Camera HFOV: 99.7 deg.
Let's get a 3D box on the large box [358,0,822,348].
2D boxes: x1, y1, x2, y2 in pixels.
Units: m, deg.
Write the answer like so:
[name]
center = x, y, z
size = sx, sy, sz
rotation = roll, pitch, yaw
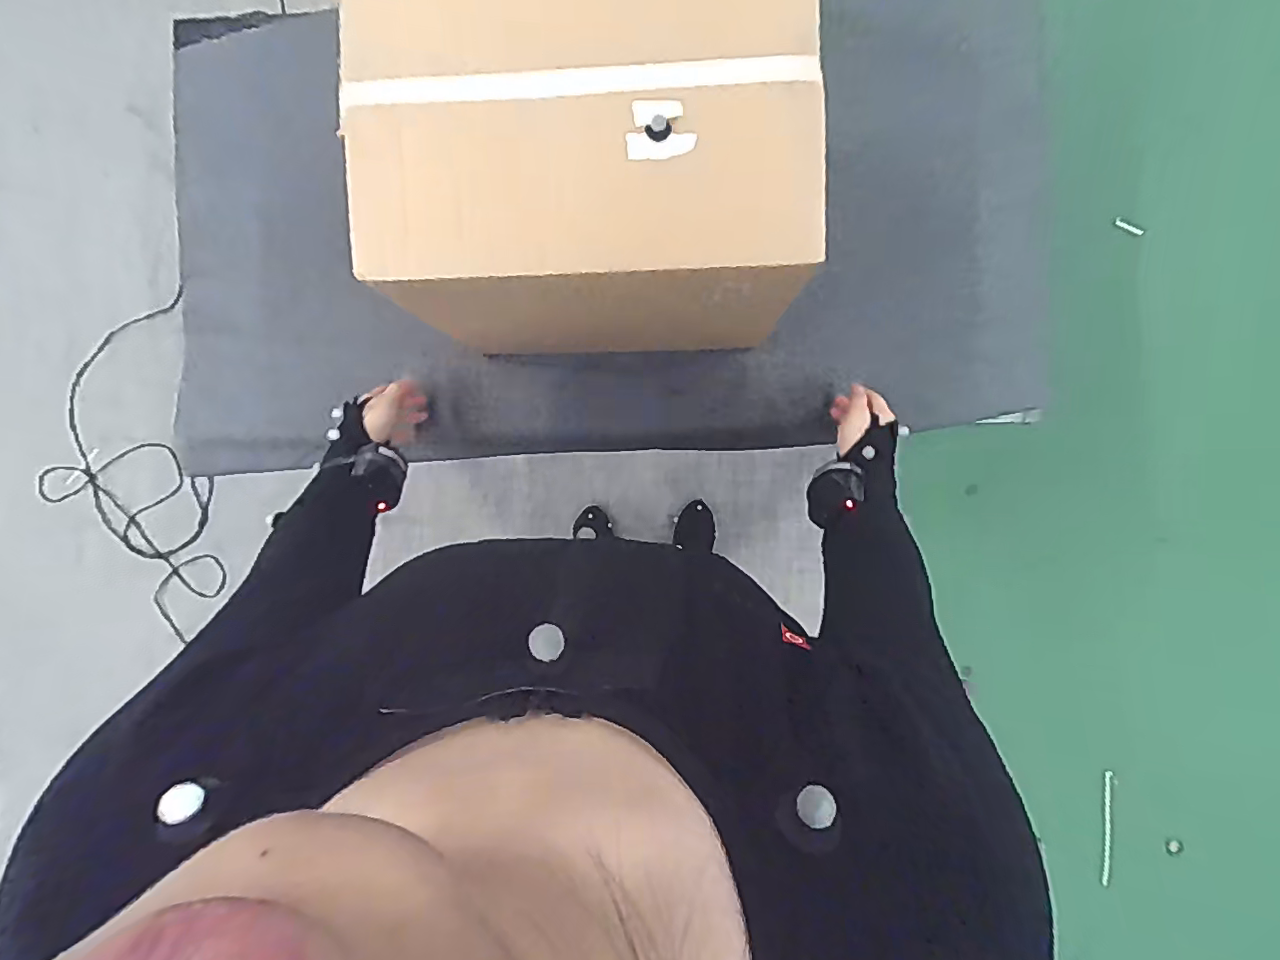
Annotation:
[large box]
center = -0.044, -0.346, 0.619
size = 0.408, 0.320, 0.320
rotation = -2, 92, 2
